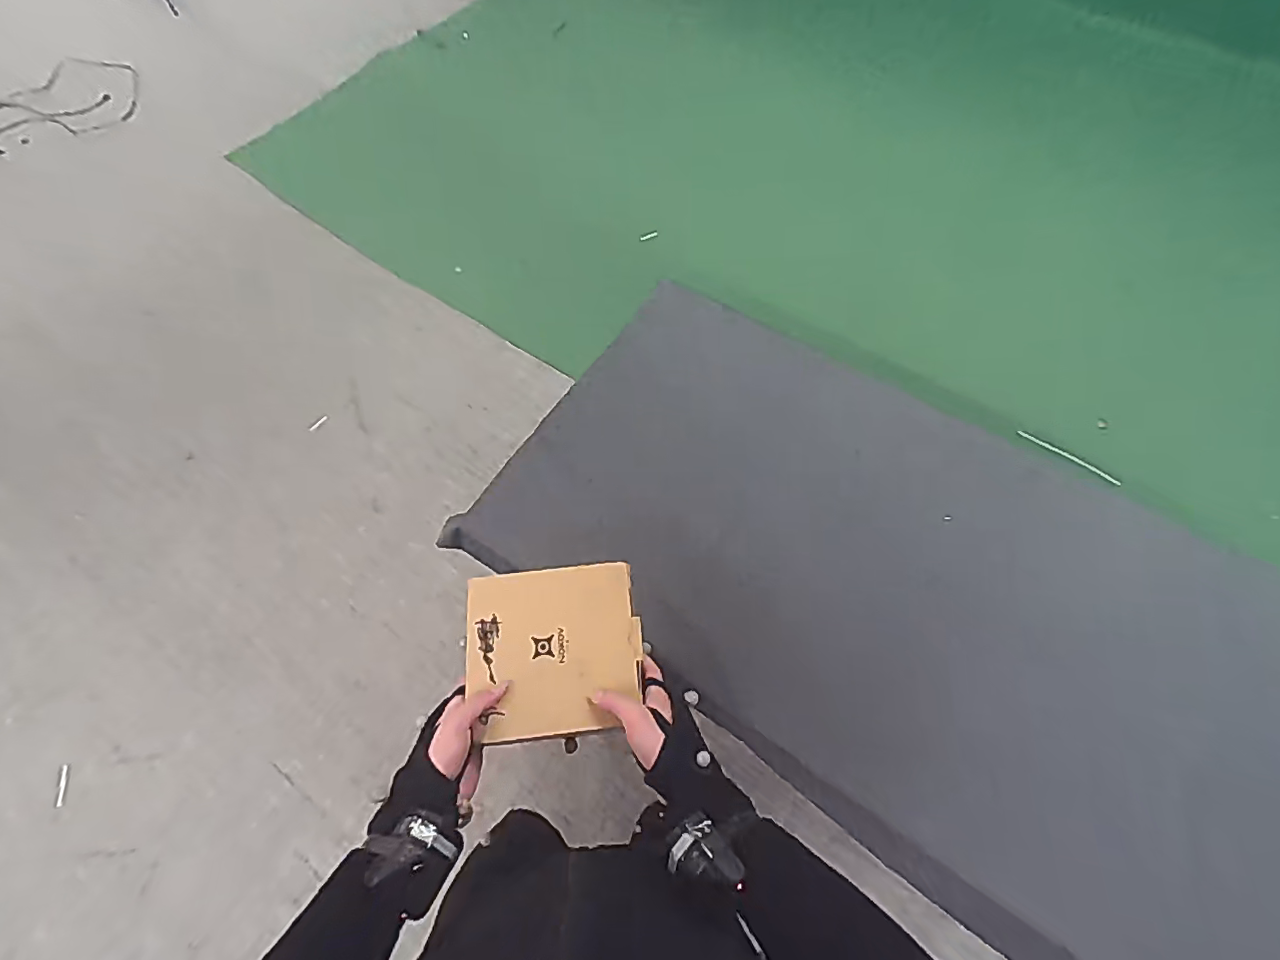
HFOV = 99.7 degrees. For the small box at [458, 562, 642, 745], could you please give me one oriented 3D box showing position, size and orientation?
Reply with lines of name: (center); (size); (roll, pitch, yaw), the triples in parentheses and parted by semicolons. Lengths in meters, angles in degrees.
small box: (-0.094, 0.202, 0.619); (0.179, 0.176, 0.168); (-5, 65, -3)
